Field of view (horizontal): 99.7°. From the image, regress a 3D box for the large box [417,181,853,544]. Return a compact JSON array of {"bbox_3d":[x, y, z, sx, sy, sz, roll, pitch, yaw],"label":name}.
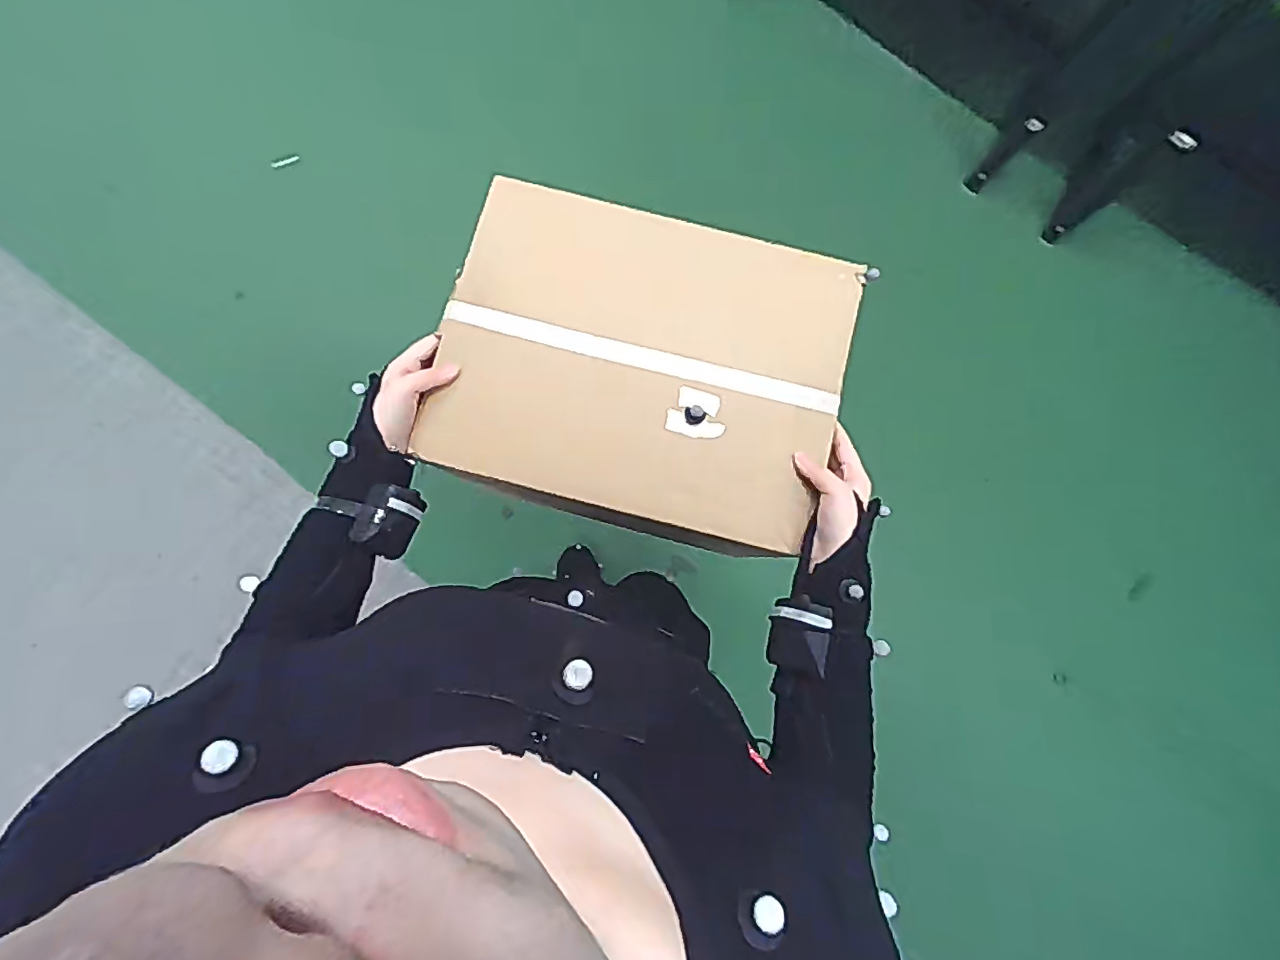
[{"bbox_3d":[-0.004,-0.111,0.702,0.408,0.320,0.320,14,83,0],"label":"large box"}]
